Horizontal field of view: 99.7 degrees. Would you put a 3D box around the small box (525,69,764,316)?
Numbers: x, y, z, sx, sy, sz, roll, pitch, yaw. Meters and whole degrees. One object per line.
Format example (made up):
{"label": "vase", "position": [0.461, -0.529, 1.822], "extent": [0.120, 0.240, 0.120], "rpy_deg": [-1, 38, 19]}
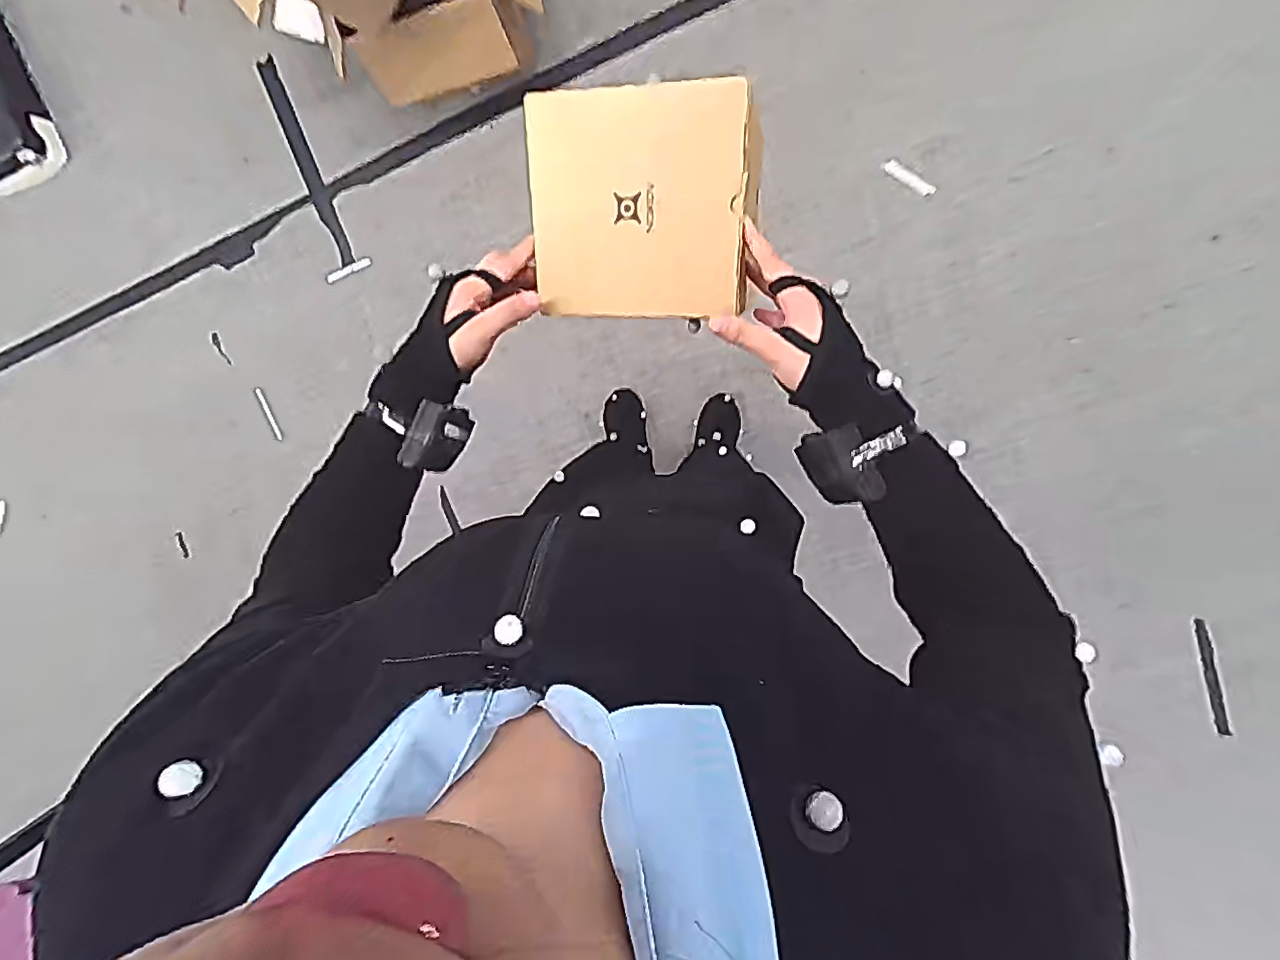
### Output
{"label": "small box", "position": [0.015, -0.239, 0.489], "extent": [0.179, 0.176, 0.168], "rpy_deg": [5, 111, 13]}
